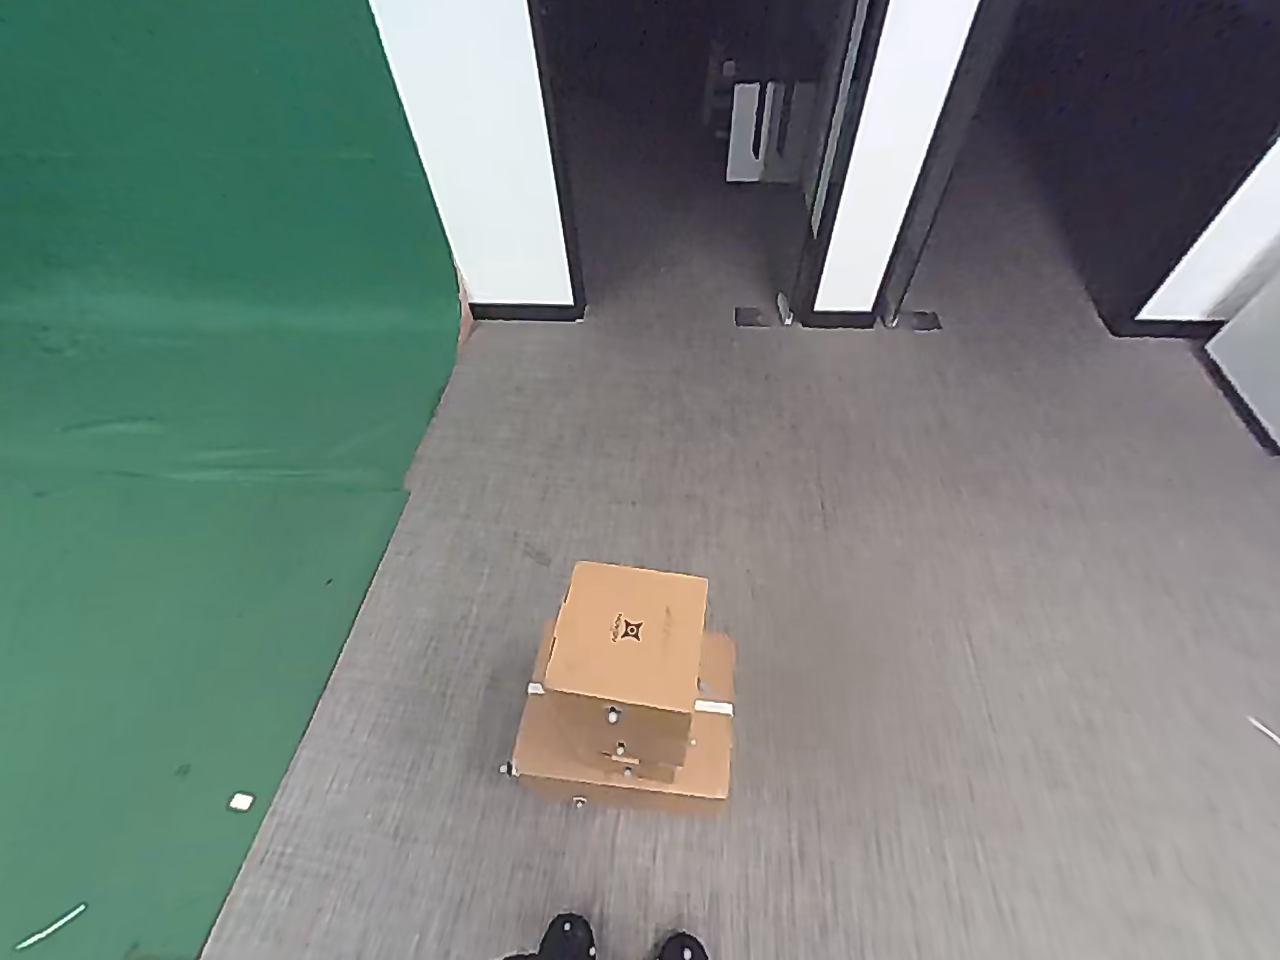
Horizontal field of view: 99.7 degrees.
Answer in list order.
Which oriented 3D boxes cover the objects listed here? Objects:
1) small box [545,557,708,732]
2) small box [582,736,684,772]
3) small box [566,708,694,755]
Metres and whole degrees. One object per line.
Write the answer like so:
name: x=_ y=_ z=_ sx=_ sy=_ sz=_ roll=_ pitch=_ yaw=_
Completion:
small box: x=-0.007 y=0.220 z=0.711 sx=0.179 sy=0.176 sz=0.168 roll=6 pitch=55 yaw=7
small box: x=0.004 y=0.412 z=0.976 sx=0.168 sy=0.176 sz=0.179 roll=6 pitch=55 yaw=8
small box: x=0.001 y=0.317 z=0.841 sx=0.179 sy=0.176 sz=0.168 roll=5 pitch=54 yaw=9
